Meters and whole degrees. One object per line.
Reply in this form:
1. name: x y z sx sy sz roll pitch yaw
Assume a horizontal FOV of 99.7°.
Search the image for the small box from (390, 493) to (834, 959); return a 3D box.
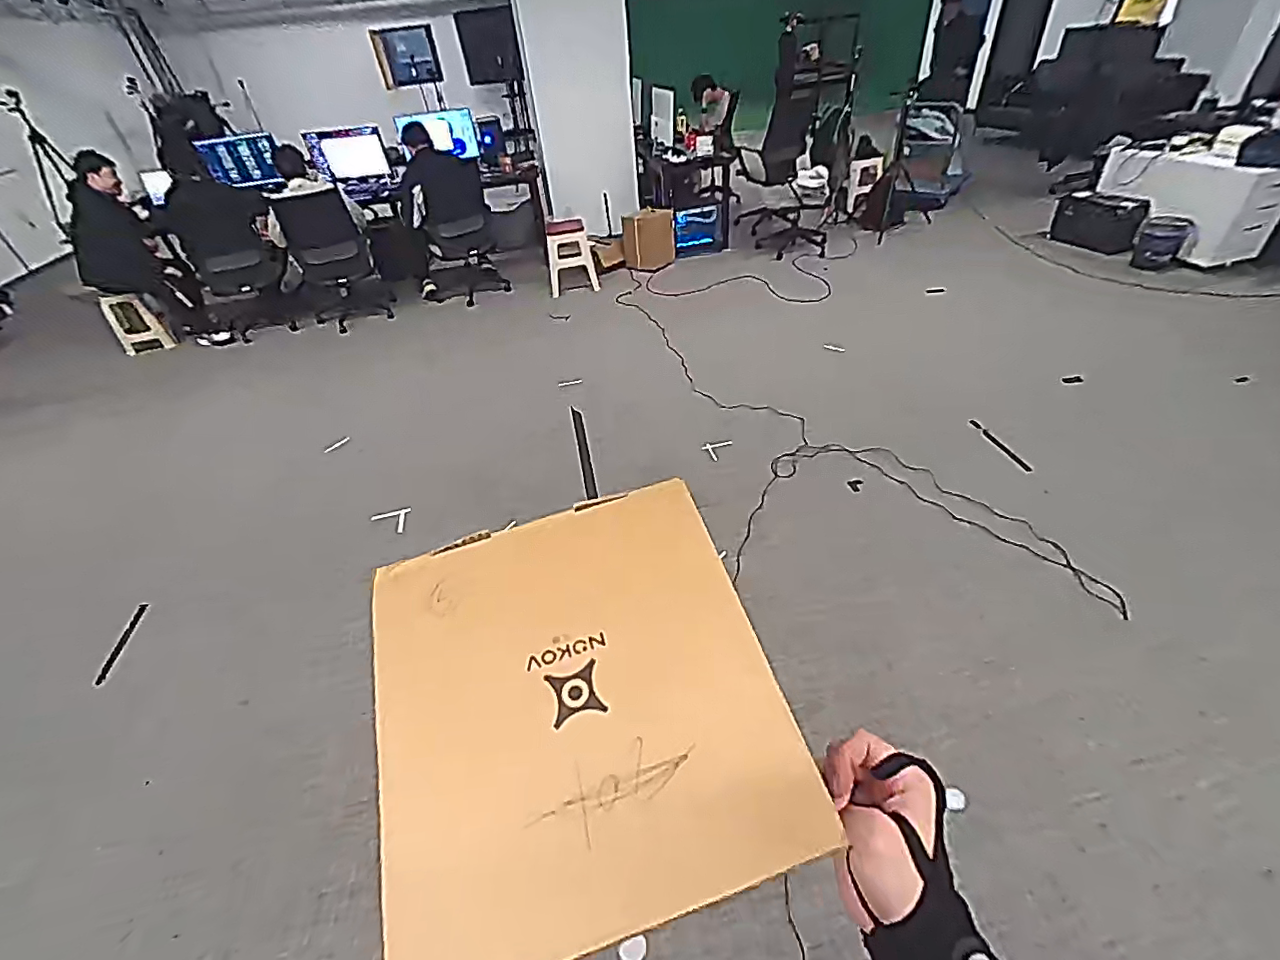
1. small box: -0.023 0.140 0.308 0.168 0.176 0.179 -17 56 -7
